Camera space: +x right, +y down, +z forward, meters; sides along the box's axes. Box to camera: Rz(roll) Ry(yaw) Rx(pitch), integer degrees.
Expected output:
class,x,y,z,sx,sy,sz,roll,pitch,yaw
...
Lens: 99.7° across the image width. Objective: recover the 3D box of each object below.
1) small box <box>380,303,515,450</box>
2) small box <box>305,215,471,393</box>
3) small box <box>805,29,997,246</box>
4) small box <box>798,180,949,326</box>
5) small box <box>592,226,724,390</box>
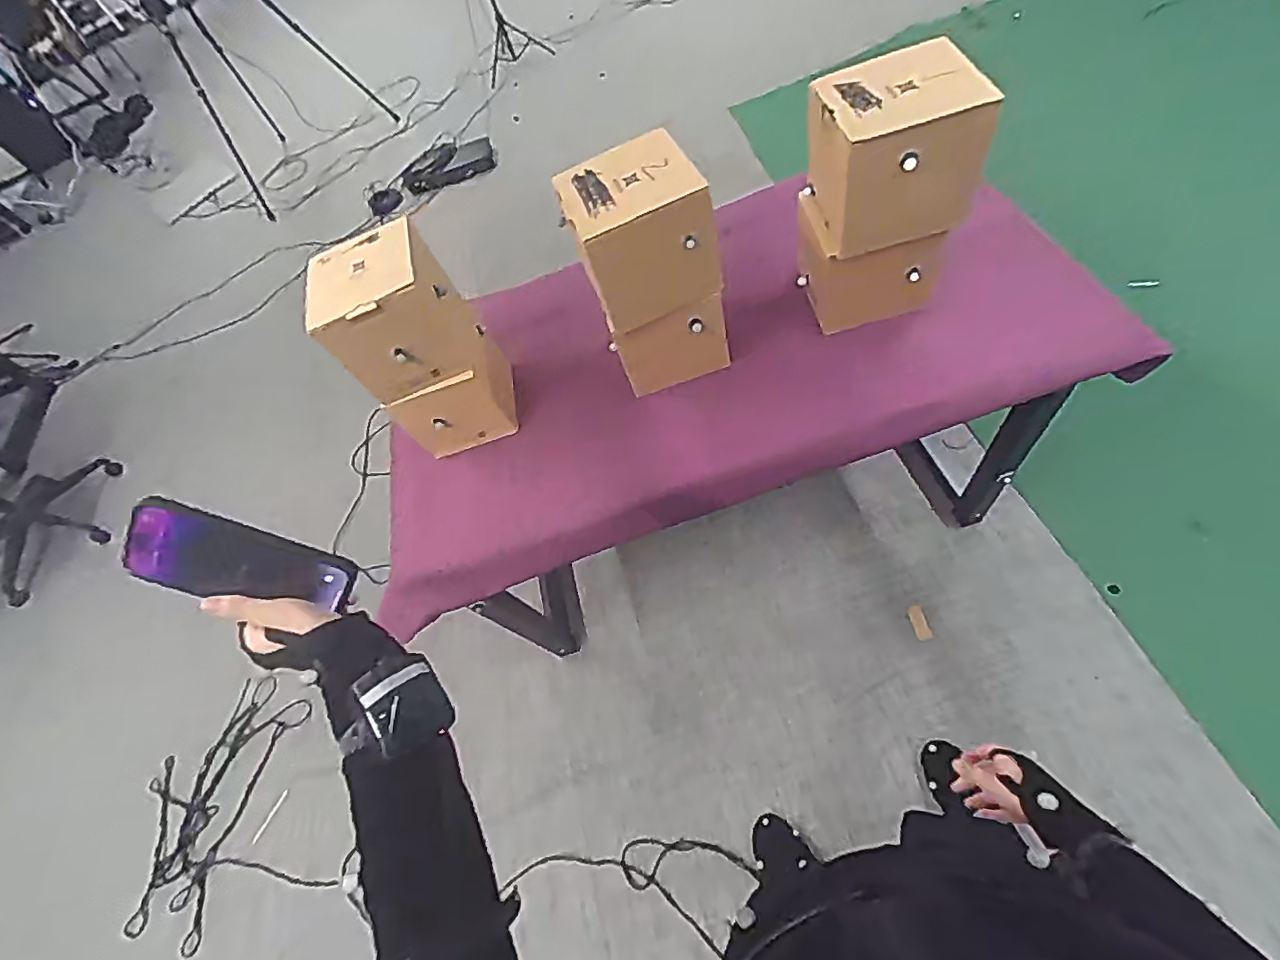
class,x,y,z,sx,sy,sz,roll,pitch,yaw
small box,-0.335,-0.173,0.965,0.168,0.176,0.179,-18,58,6
small box,-0.378,-0.258,0.831,0.168,0.176,0.179,-23,58,3
small box,0.331,-0.448,0.727,0.179,0.176,0.168,-14,58,8
small box,0.360,-0.381,0.874,0.179,0.176,0.168,-14,58,9
small box,0.037,-0.283,0.914,0.179,0.176,0.168,-19,58,6
